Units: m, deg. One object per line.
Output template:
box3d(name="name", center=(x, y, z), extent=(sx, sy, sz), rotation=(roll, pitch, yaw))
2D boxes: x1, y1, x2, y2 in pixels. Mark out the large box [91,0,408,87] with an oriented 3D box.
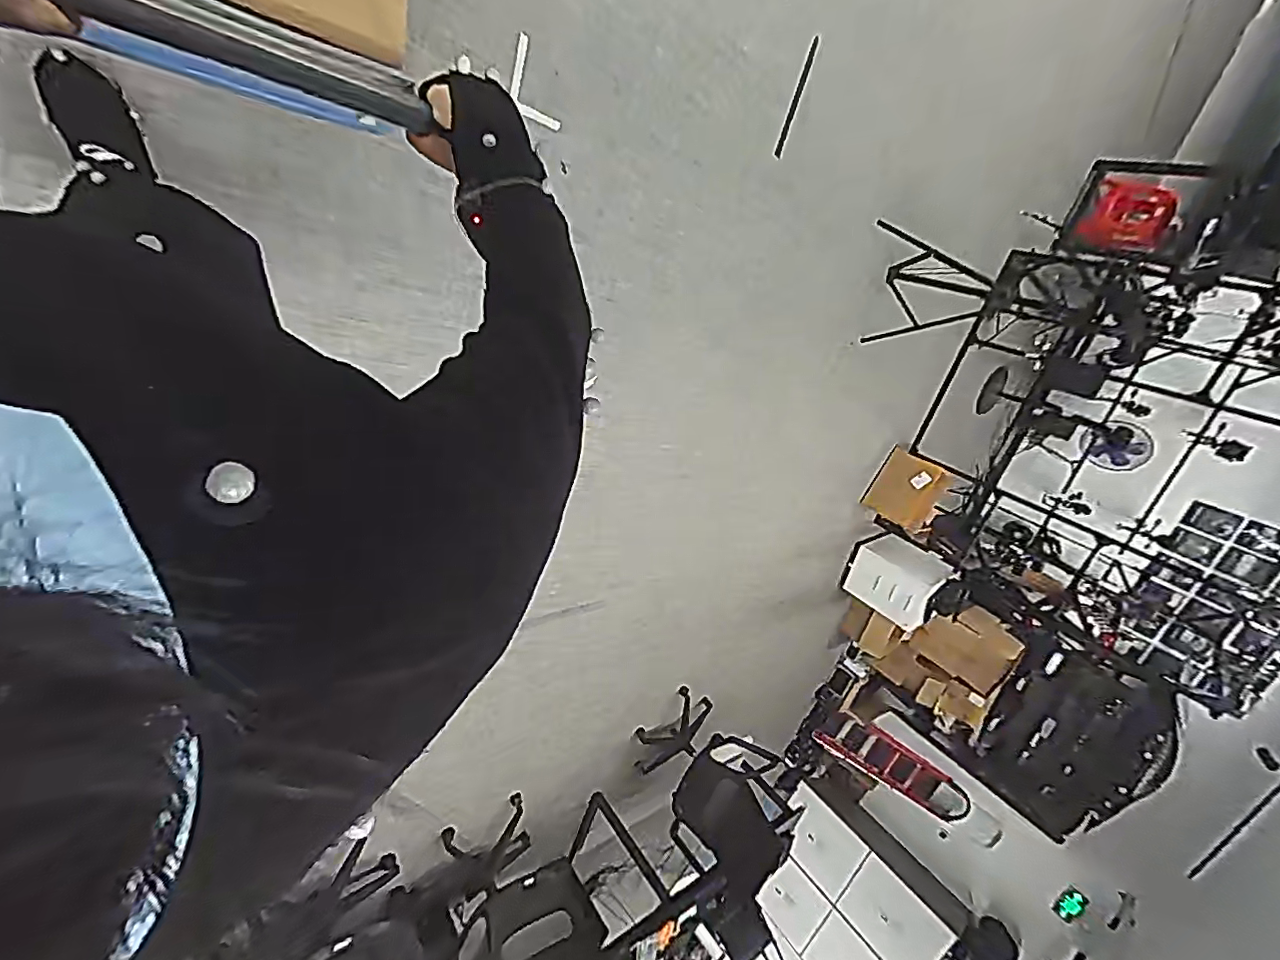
box3d(name="large box", center=(-0.551, -0.764, 0.695), extent=(0.408, 0.320, 0.320), rotation=(-6, 121, -42))
